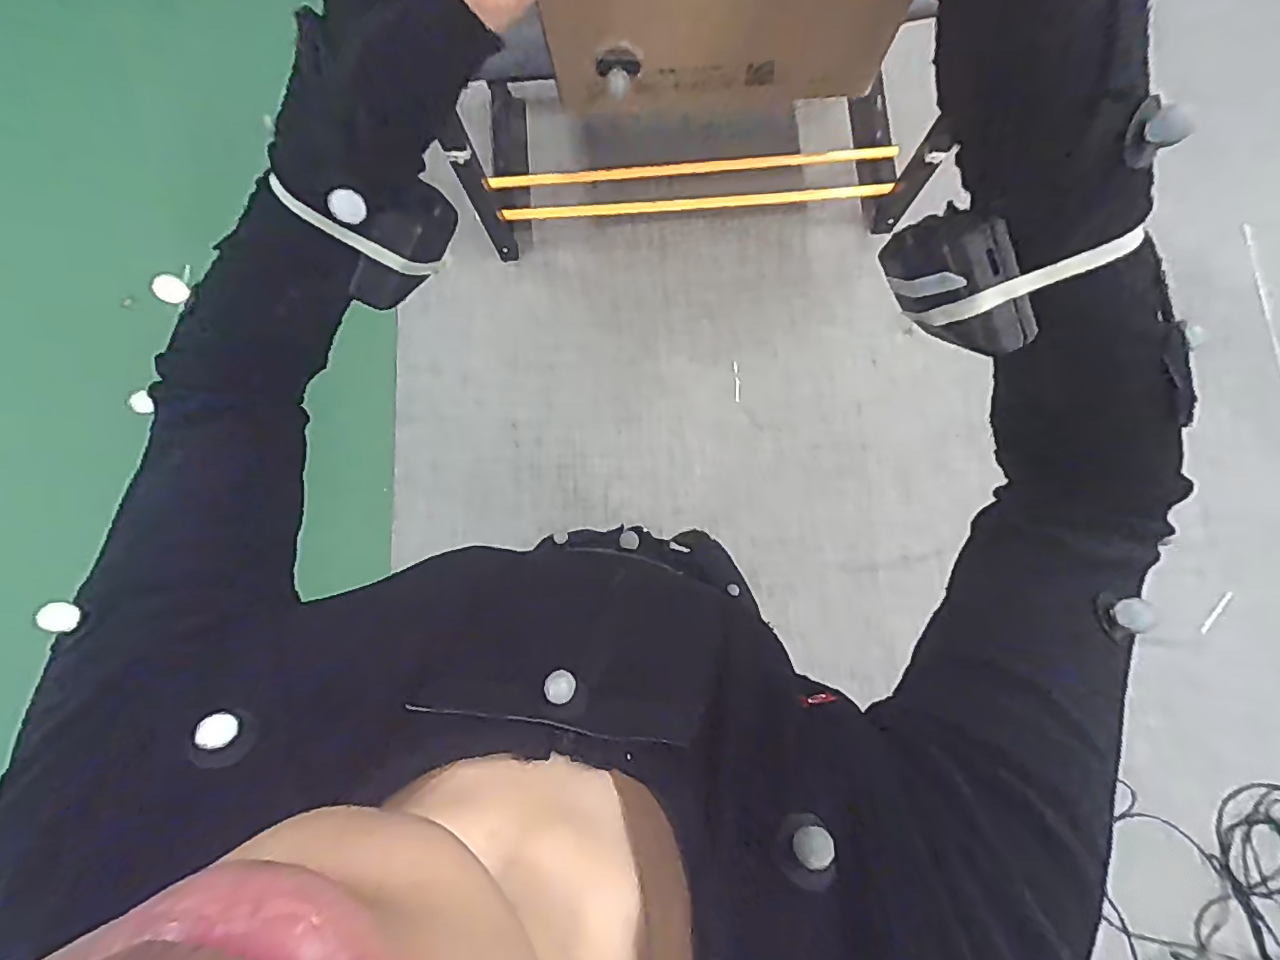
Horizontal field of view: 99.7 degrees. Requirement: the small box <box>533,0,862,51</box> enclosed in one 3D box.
[{"bbox_3d":[0.024,-0.310,0.211,0.168,0.176,0.179,-2,85,2],"label":"small box"}]
